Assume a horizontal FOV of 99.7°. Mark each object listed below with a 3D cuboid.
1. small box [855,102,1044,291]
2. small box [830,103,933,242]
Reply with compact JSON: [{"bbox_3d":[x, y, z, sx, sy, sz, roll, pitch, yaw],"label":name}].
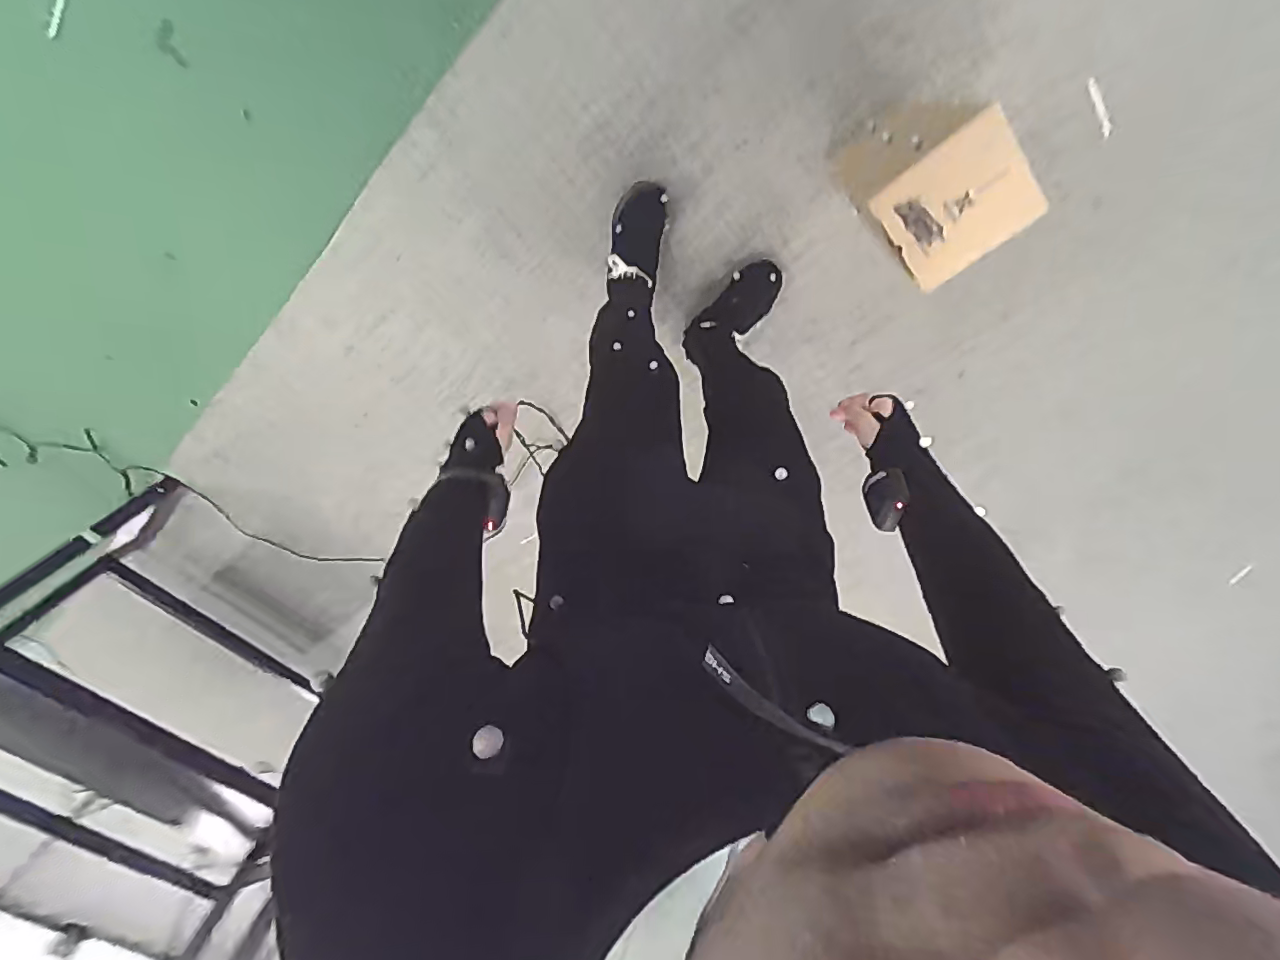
[{"bbox_3d":[0.442,-0.419,0.807,0.179,0.176,0.168,-34,112,26],"label":"small box"},{"bbox_3d":[0.498,-0.604,1.073,0.168,0.176,0.179,-32,113,27],"label":"small box"}]
